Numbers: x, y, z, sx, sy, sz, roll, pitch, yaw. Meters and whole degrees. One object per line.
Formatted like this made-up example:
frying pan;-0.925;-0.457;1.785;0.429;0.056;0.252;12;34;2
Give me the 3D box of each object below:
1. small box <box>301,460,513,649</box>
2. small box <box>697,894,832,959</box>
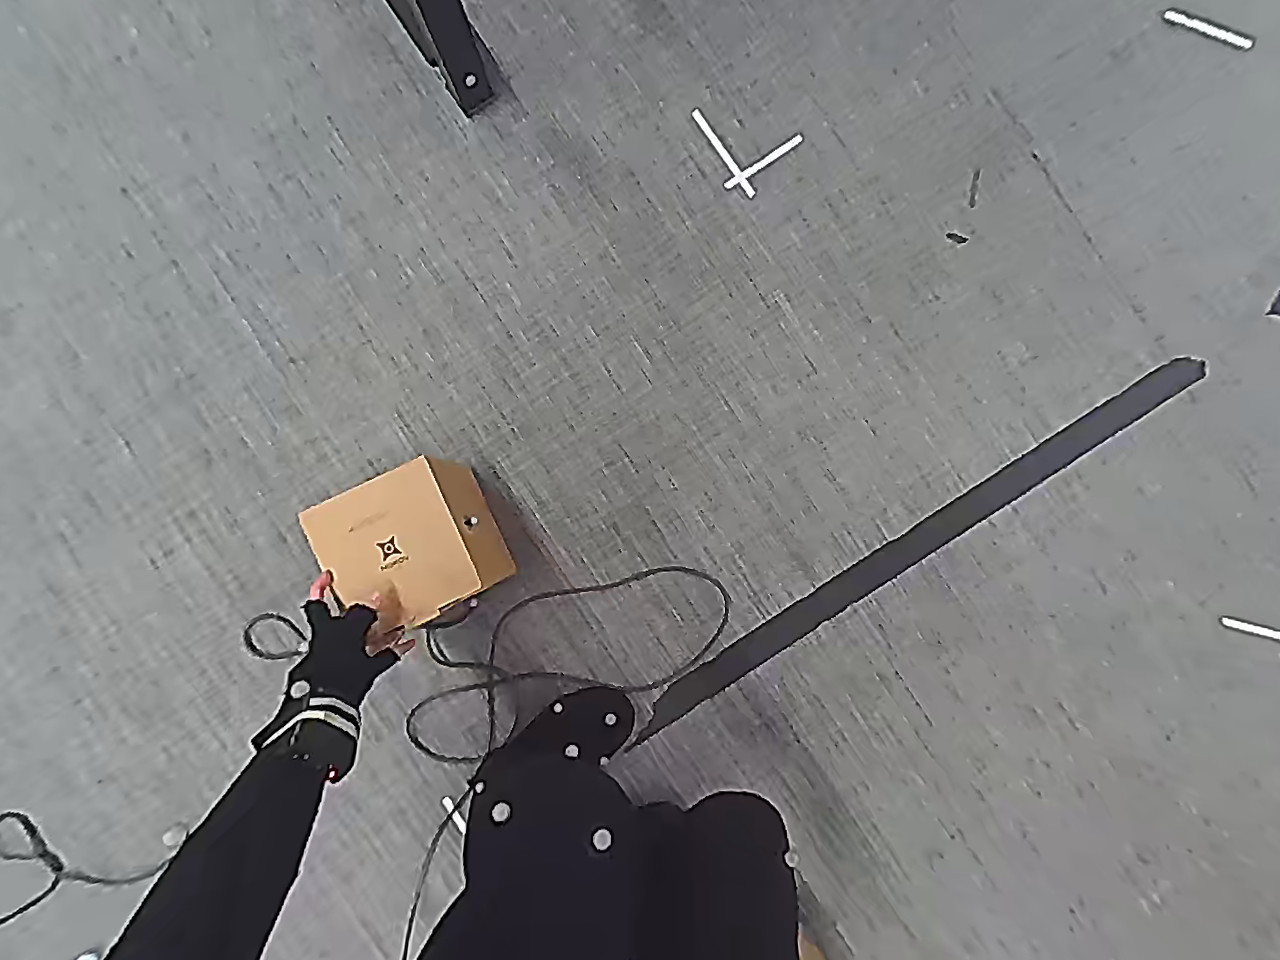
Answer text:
small box;-0.289;0.090;0.711;0.168;0.176;0.179;-26;86;-1
small box;0.184;0.717;0.717;0.179;0.176;0.168;-35;91;0
